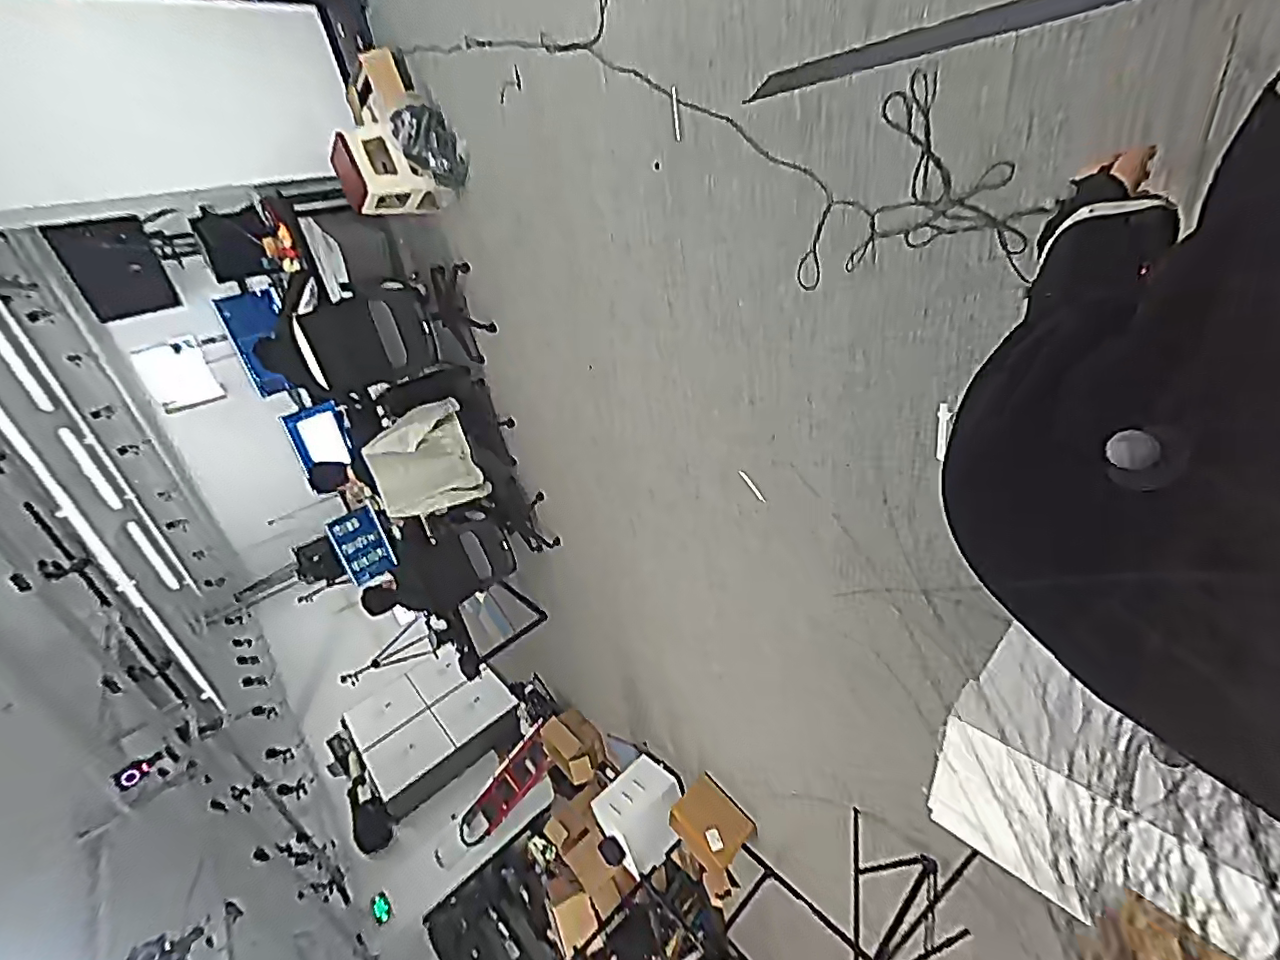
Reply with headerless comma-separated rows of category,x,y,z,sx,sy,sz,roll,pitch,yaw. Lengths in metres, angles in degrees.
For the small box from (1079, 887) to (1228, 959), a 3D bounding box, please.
small box,0.924,0.897,0.980,0.168,0.176,0.179,27,135,41
